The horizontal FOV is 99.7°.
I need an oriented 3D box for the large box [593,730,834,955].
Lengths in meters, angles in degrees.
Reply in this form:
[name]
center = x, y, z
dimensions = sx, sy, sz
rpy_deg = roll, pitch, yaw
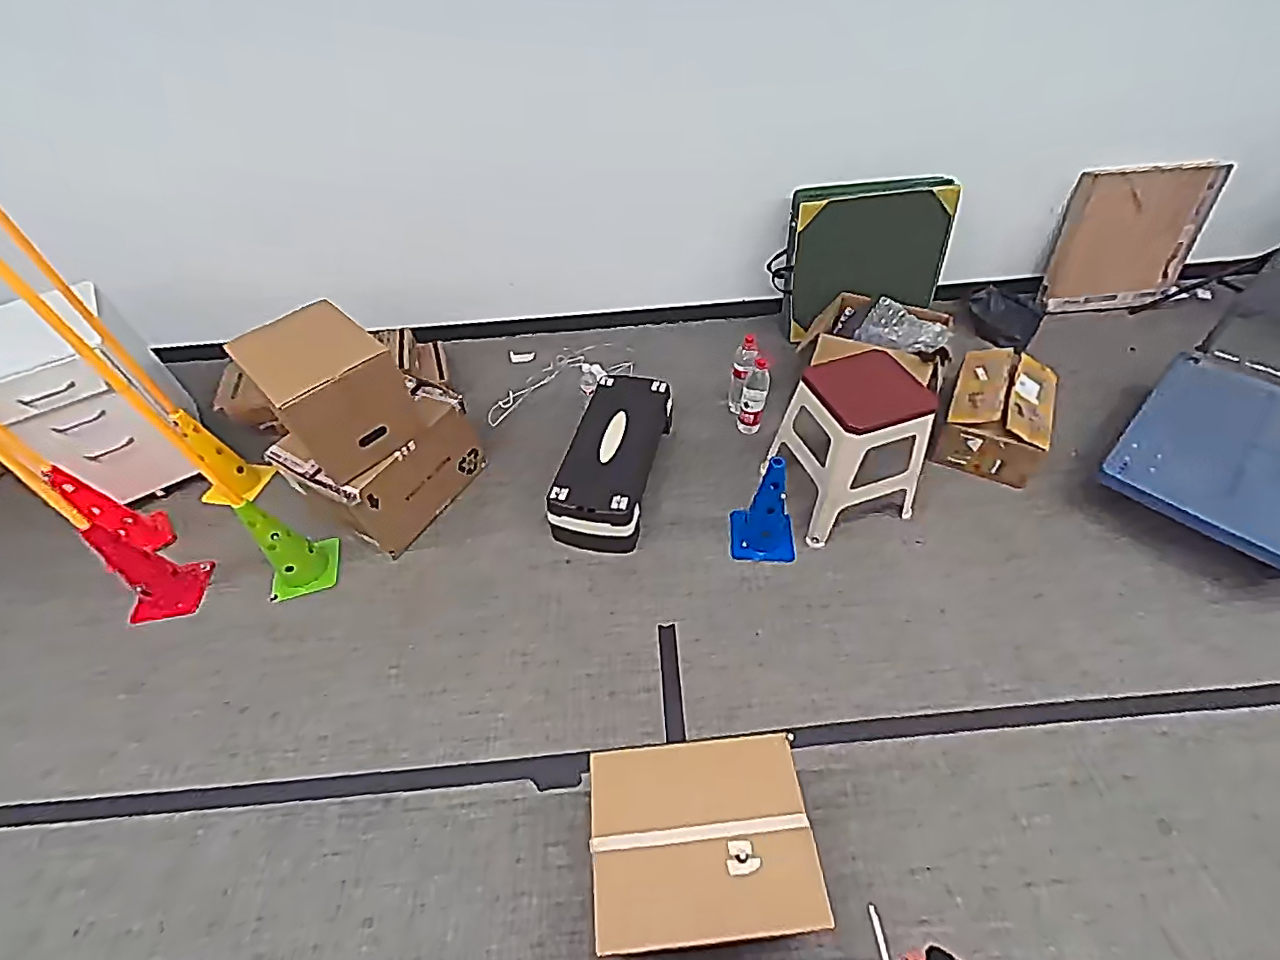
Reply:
[large box]
center = 0.120, 0.747, 1.112
dimensions = 0.408, 0.320, 0.320
rpy_deg = -5, 49, -3
